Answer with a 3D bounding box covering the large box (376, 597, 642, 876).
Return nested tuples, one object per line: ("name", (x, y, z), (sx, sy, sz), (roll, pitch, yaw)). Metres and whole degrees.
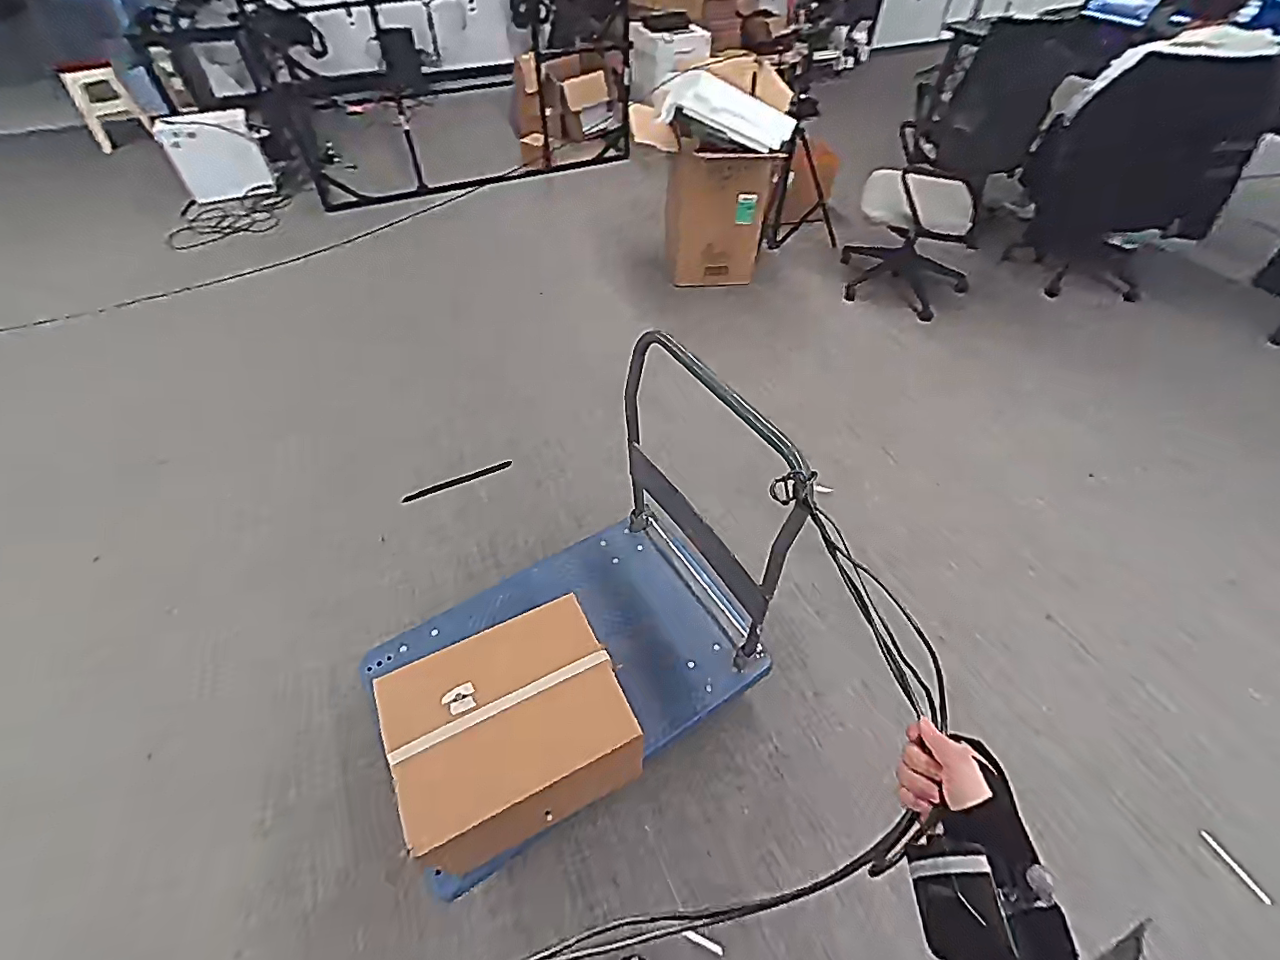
("large box", (-0.240, 0.504, 1.077), (0.408, 0.320, 0.320), (-22, 52, -17))
